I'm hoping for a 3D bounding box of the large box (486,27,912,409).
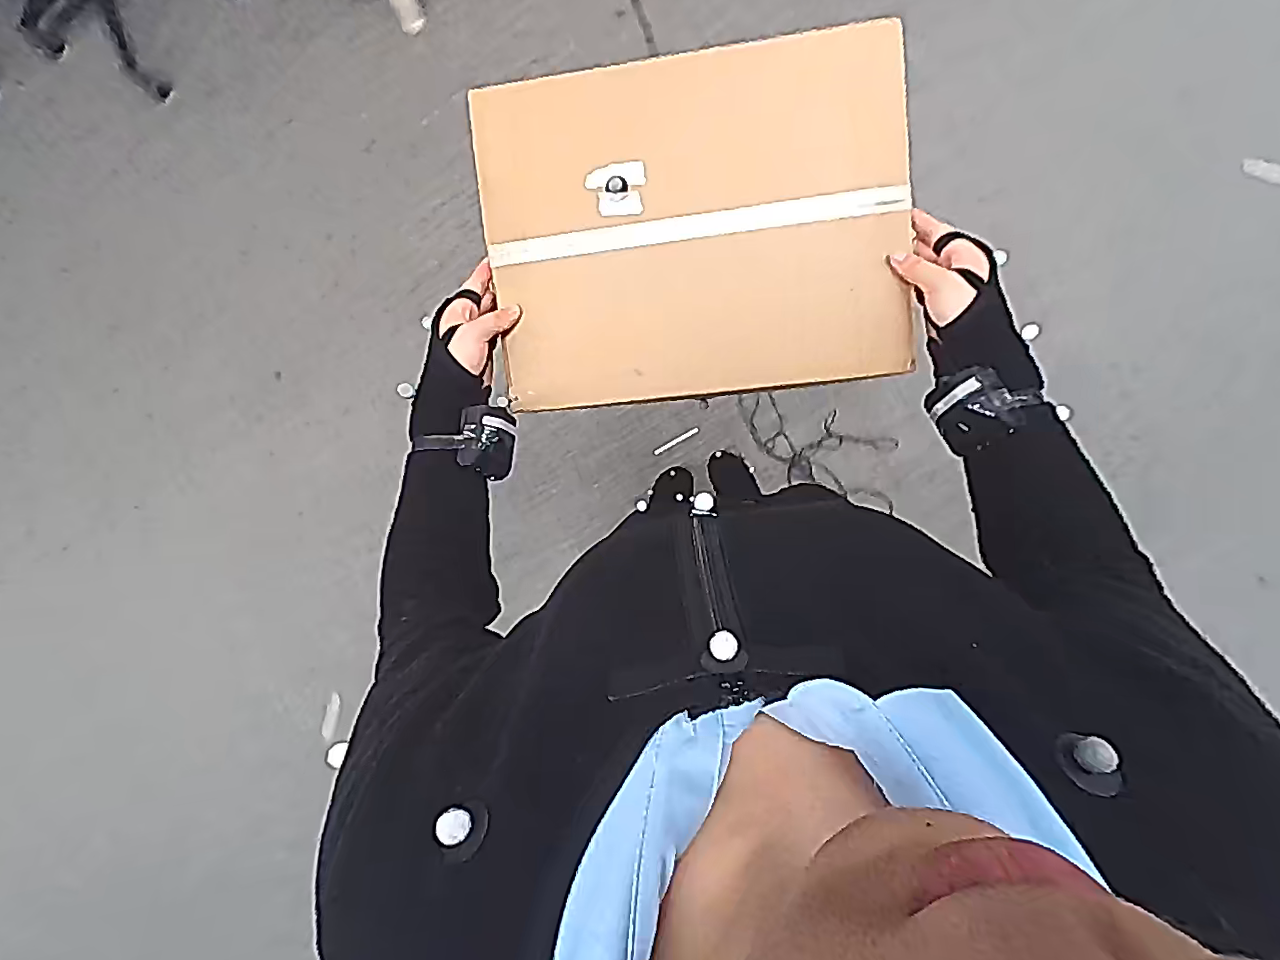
[{"bbox_3d":[0.074,-0.266,0.680,0.408,0.320,0.320,-5,97,7],"label":"large box"}]
